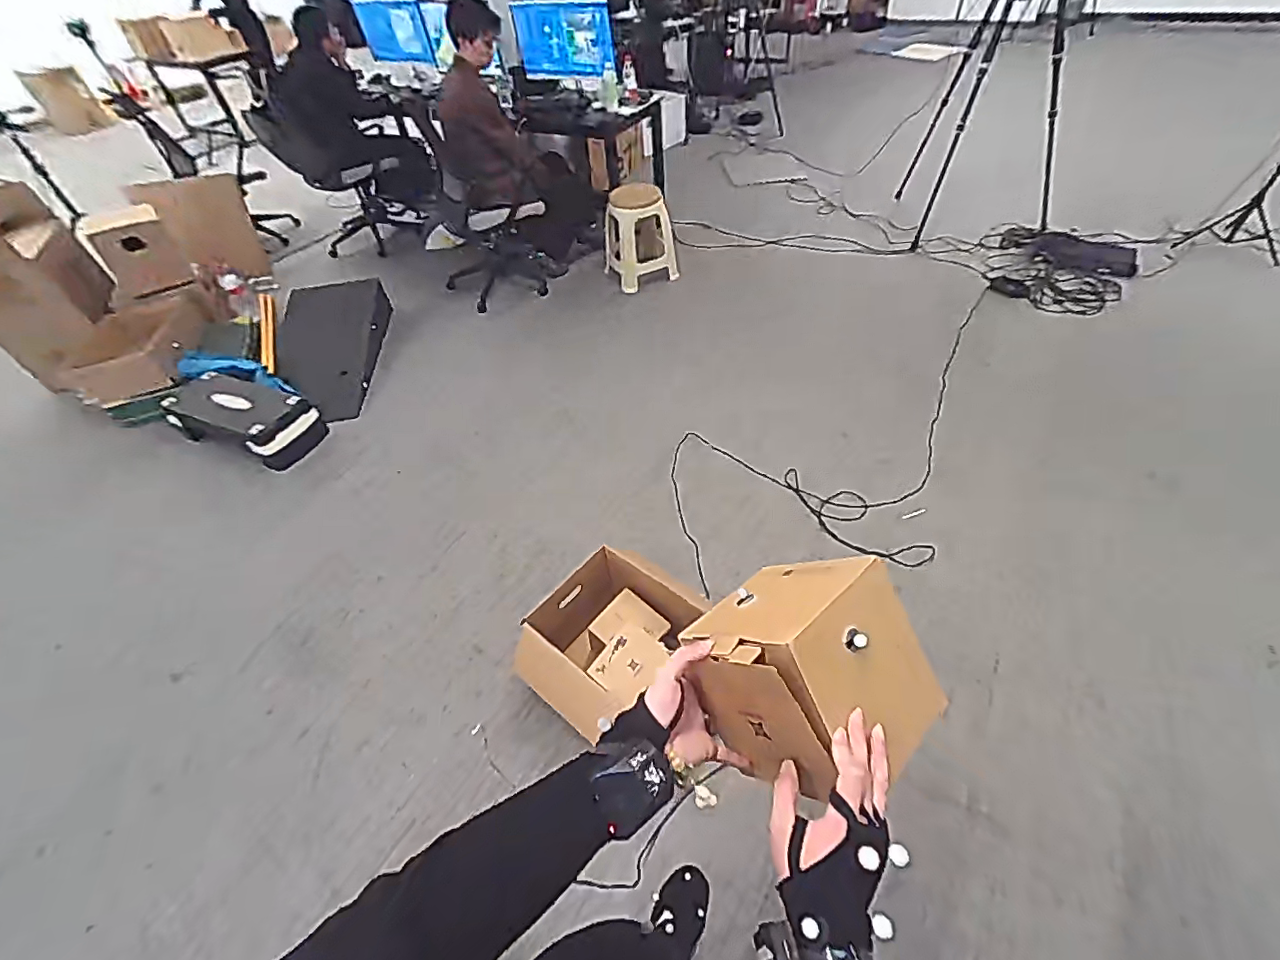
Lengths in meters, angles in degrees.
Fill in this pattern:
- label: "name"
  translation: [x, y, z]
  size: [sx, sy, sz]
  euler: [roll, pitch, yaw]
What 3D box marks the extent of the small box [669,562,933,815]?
- label: "small box"
  translation: [0.168, 0.198, 0.571]
  size: [0.176, 0.168, 0.179]
  euler: [-29, 94, -34]
